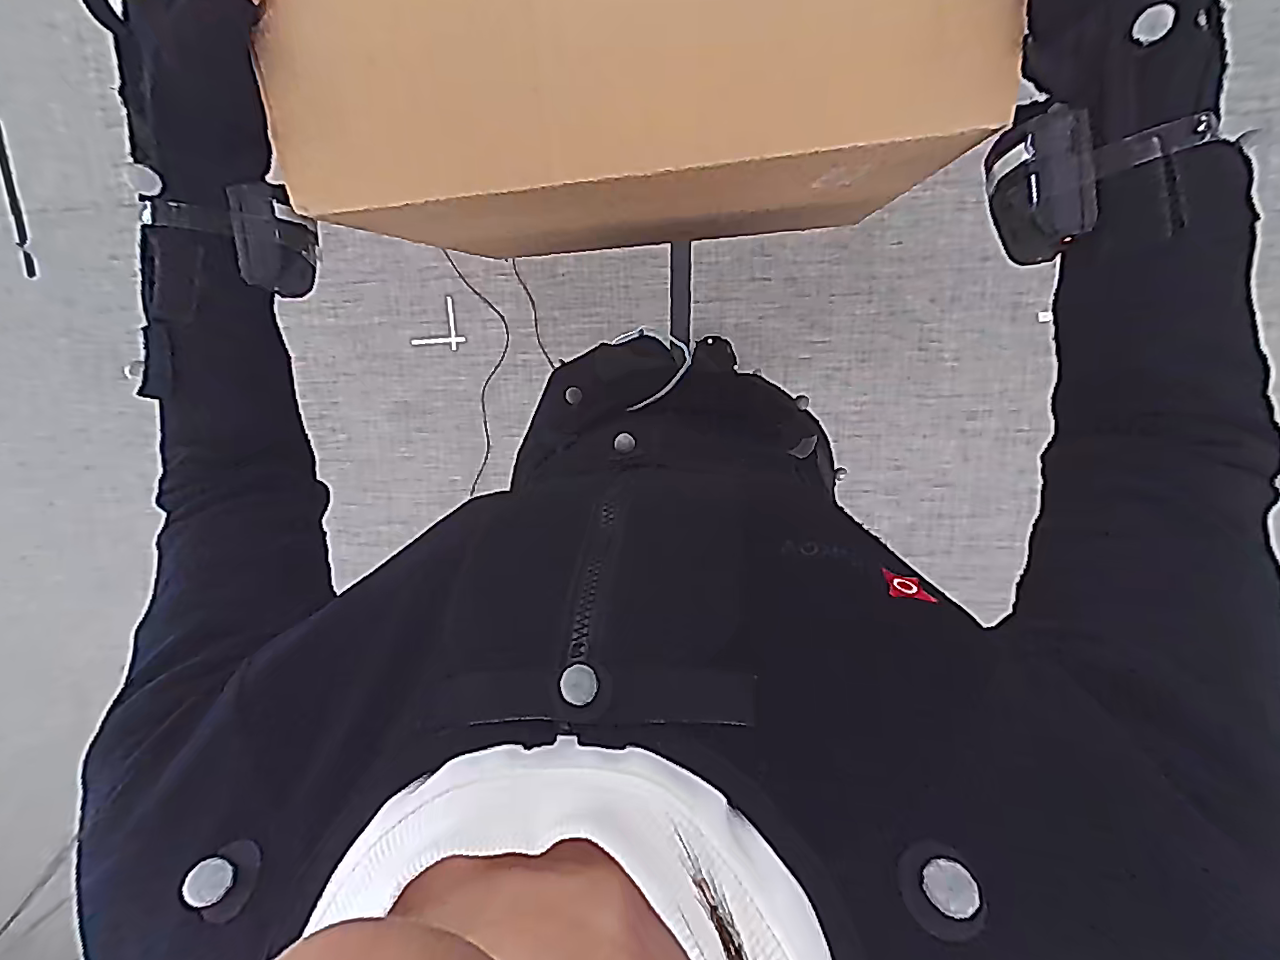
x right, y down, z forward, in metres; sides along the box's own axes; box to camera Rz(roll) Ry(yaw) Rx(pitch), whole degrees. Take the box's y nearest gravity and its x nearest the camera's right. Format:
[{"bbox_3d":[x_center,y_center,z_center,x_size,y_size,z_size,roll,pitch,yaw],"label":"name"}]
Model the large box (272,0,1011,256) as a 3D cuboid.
[{"bbox_3d":[-0.002,-0.372,0.412,0.408,0.320,0.320,-3,107,8],"label":"large box"}]
